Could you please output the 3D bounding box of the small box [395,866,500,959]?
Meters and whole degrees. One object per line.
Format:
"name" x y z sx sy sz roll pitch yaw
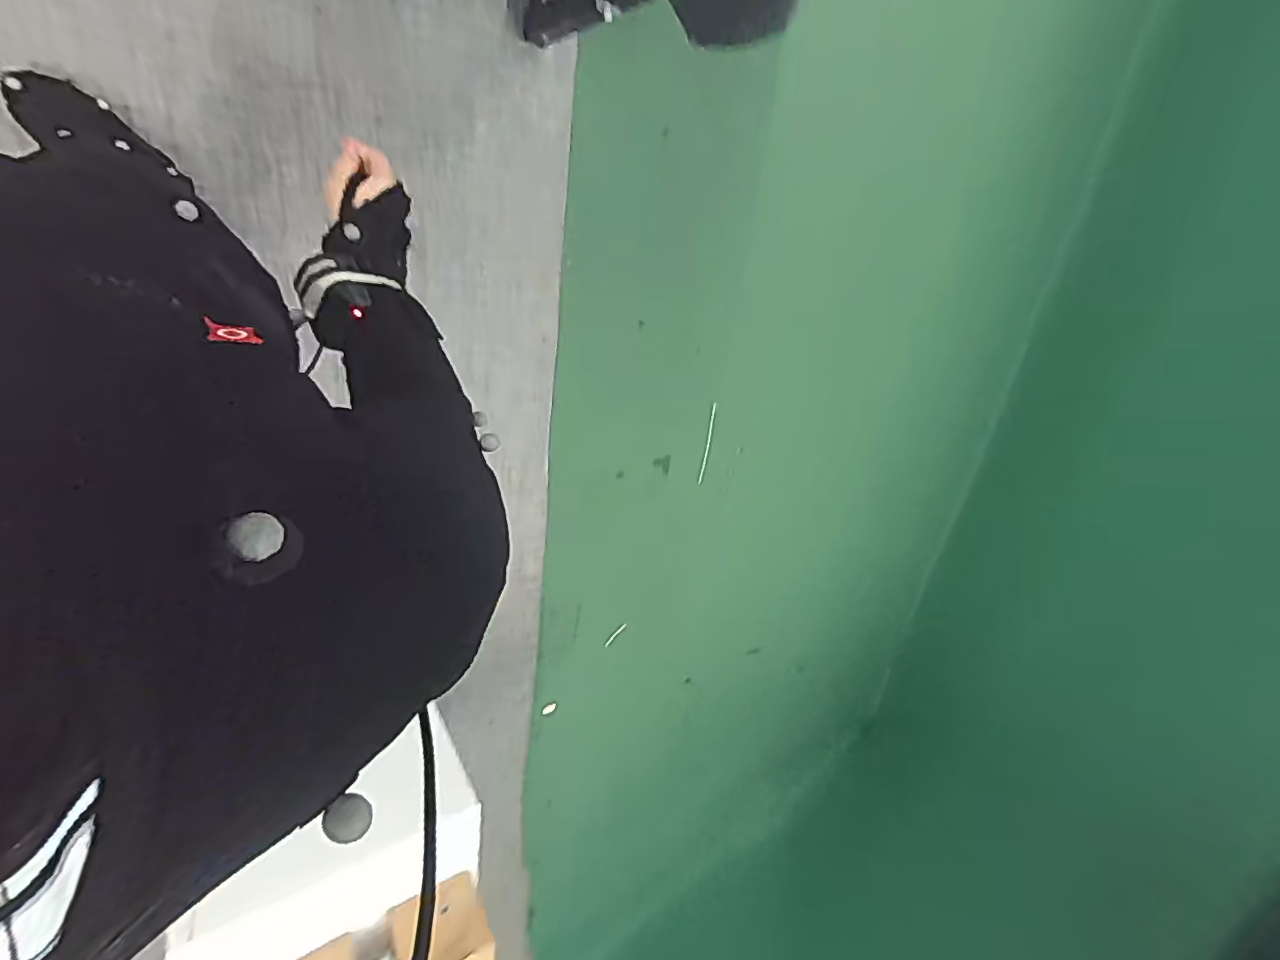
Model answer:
"small box" -0.406 0.968 1.132 0.168 0.176 0.179 -8 117 -35
